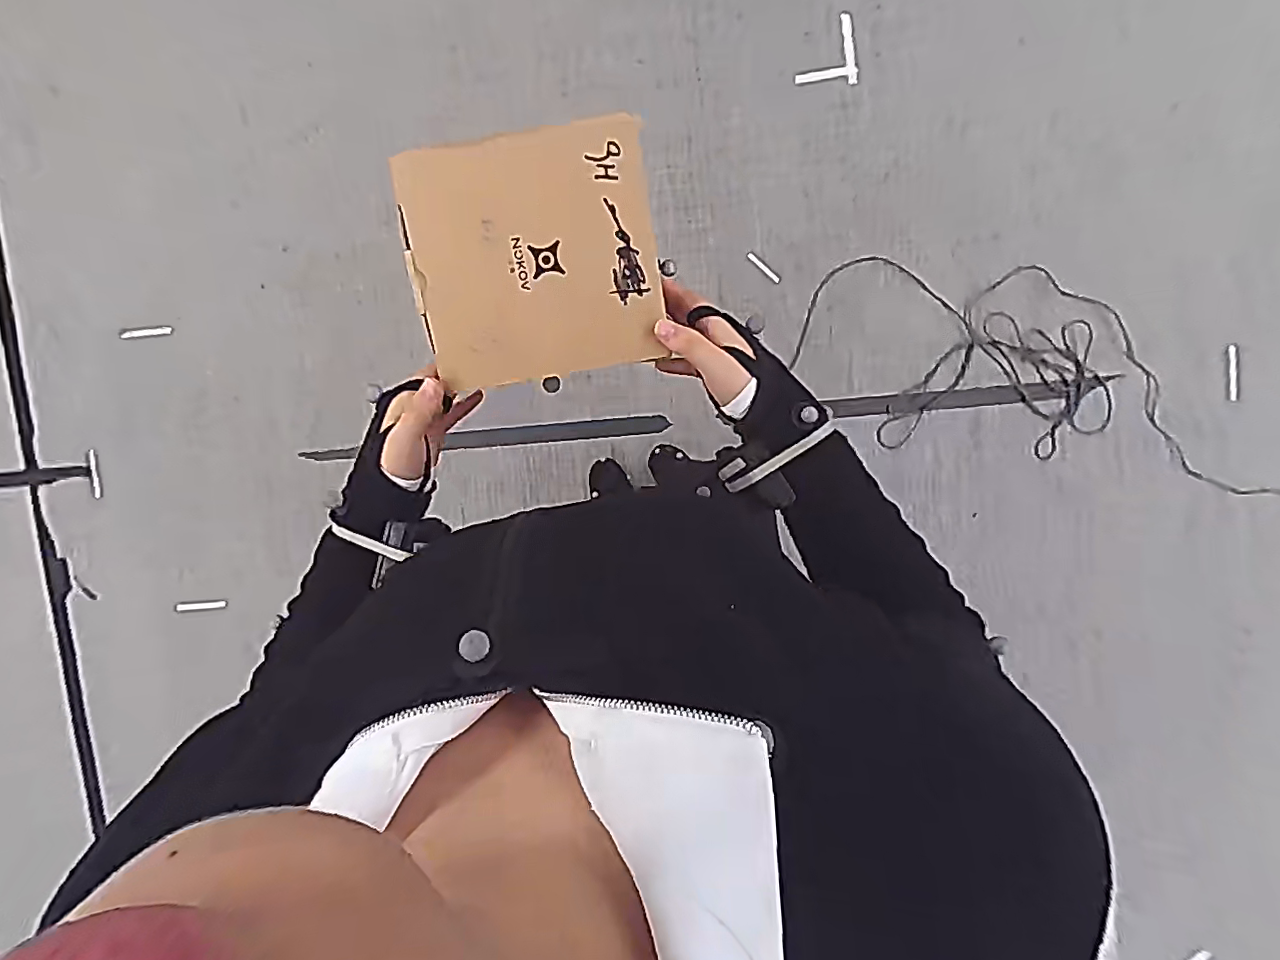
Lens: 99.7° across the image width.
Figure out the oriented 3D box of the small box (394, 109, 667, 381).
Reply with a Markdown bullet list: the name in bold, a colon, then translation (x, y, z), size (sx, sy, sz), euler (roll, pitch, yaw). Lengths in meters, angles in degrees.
- **small box**: translation (-0.074, -0.181, 0.467), size (0.179, 0.176, 0.168), euler (-9, 103, 2)
